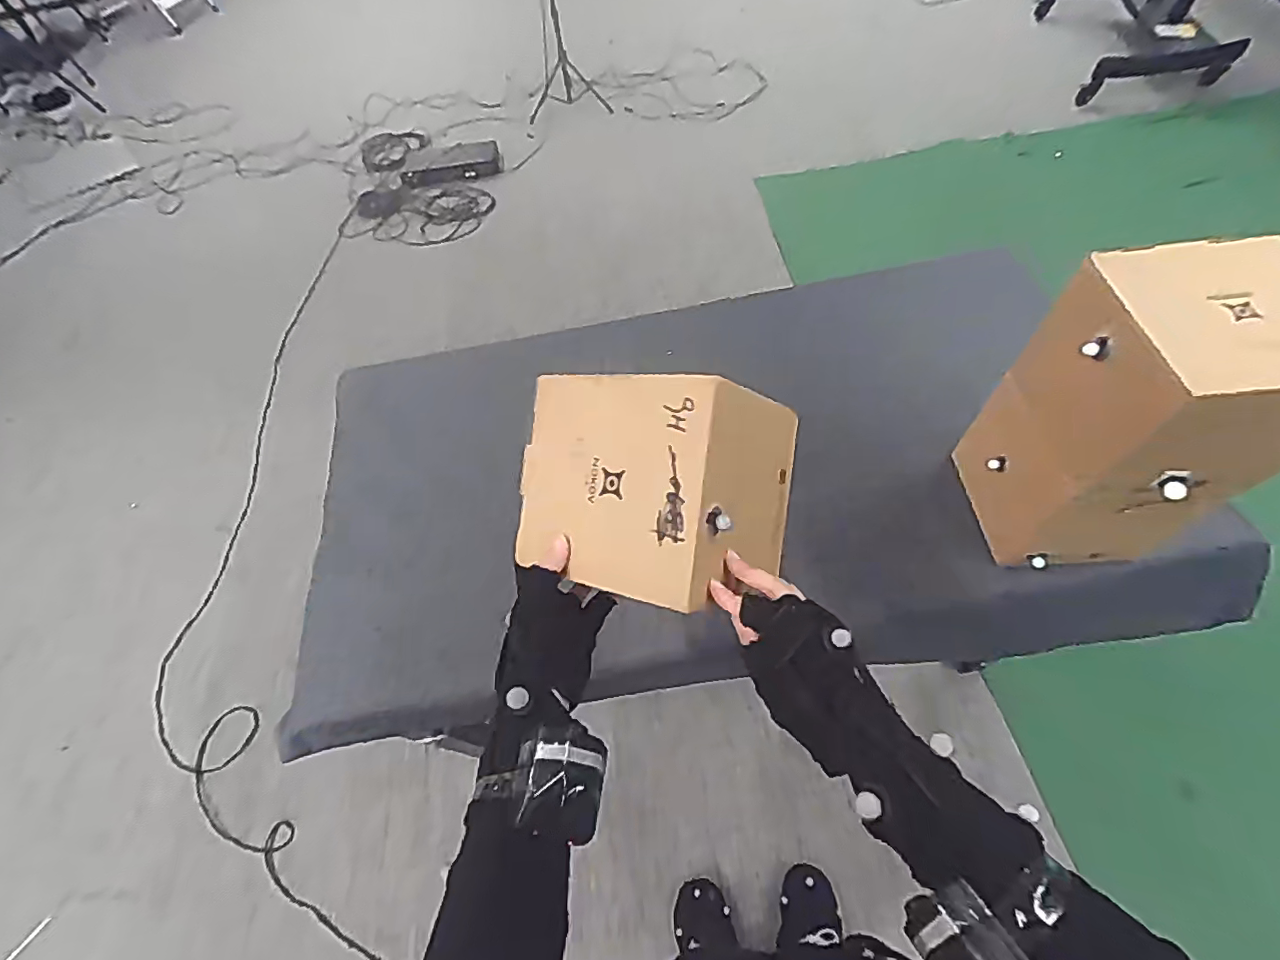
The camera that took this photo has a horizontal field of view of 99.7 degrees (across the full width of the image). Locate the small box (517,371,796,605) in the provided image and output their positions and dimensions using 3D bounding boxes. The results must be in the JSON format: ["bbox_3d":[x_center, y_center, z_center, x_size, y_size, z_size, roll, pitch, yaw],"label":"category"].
[{"bbox_3d":[0.018,0.000,0.486,0.179,0.176,0.168,9,94,36],"label":"small box"}]

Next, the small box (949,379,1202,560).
[{"bbox_3d":[0.514,-0.010,0.662,0.168,0.176,0.179,-4,56,4],"label":"small box"}]

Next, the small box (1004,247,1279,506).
[{"bbox_3d":[0.497,-0.093,0.524,0.168,0.176,0.179,-4,58,5],"label":"small box"}]
